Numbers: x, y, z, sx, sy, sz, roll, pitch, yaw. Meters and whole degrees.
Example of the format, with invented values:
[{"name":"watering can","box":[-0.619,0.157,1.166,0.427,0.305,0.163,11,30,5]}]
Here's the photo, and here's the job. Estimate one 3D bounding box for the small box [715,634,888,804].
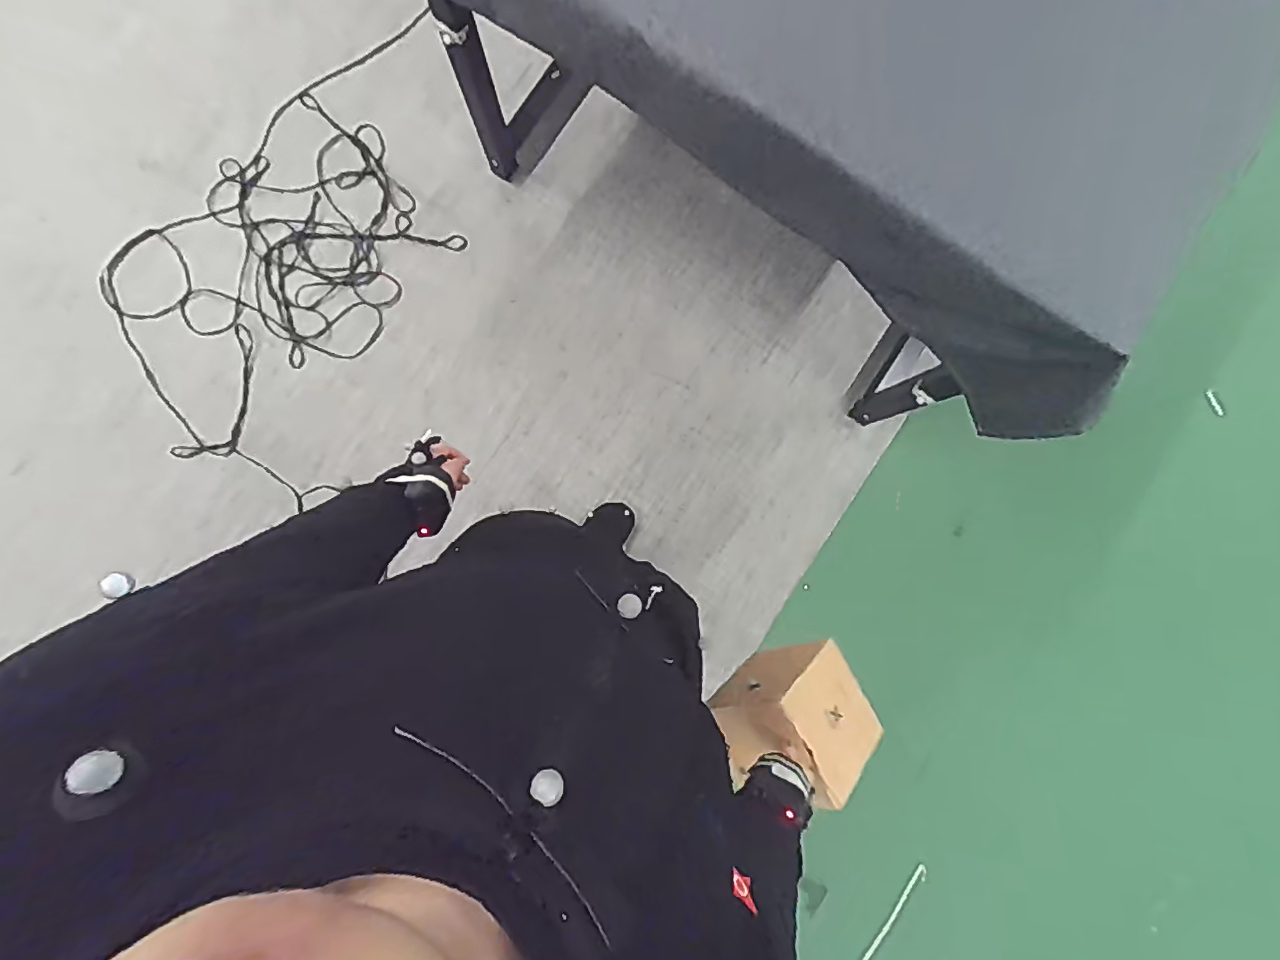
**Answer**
[{"name":"small box","box":[0.239,0.364,0.833,0.179,0.176,0.168,-24,85,-45]}]
